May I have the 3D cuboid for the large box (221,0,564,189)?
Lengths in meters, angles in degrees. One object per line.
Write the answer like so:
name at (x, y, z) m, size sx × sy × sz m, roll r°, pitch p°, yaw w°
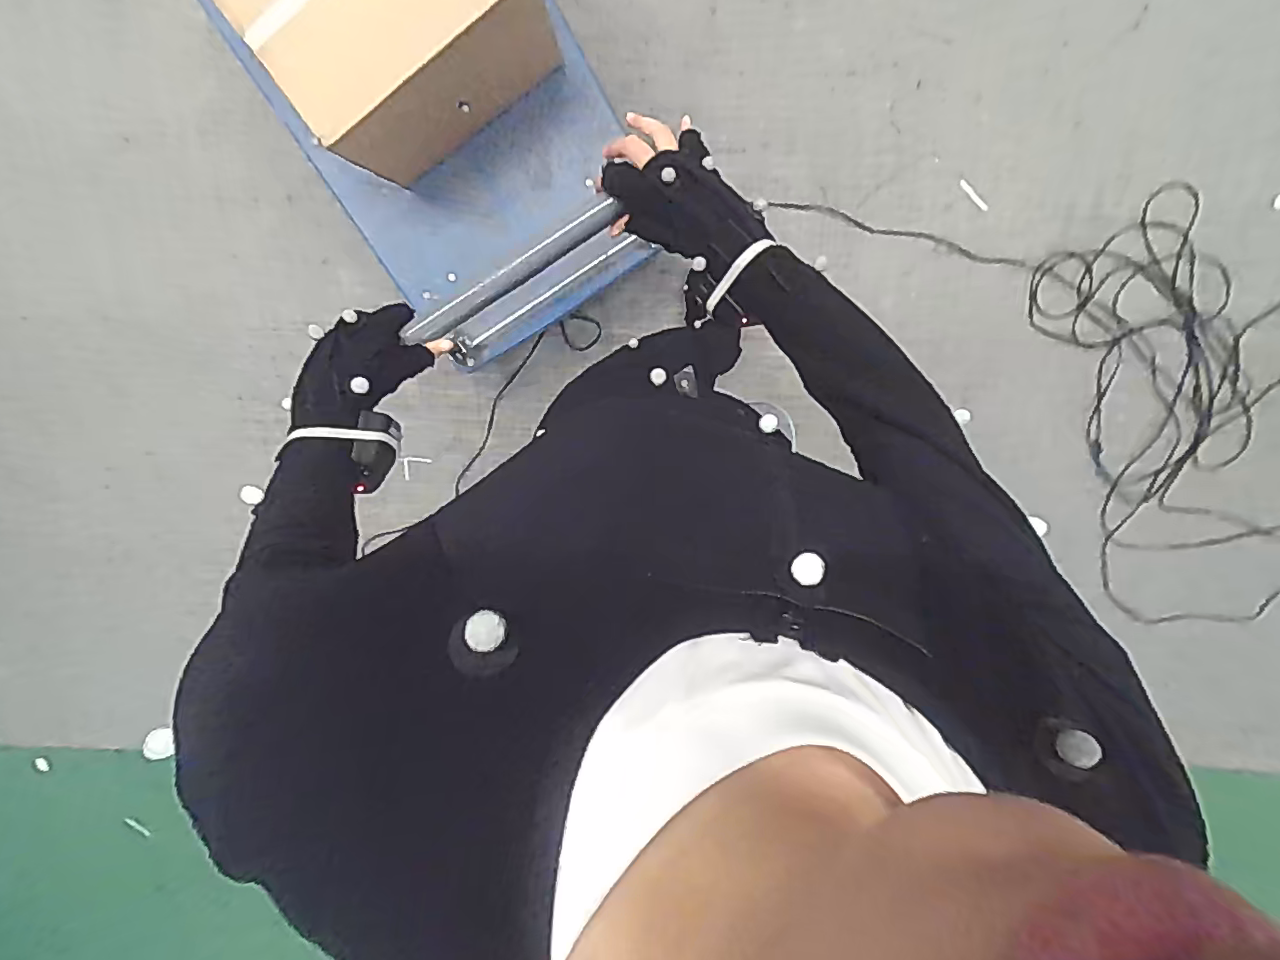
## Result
large box at (-0.392, -0.777, 0.909) m, size 0.408 × 0.320 × 0.320 m, roll -32°, pitch 104°, yaw 11°
